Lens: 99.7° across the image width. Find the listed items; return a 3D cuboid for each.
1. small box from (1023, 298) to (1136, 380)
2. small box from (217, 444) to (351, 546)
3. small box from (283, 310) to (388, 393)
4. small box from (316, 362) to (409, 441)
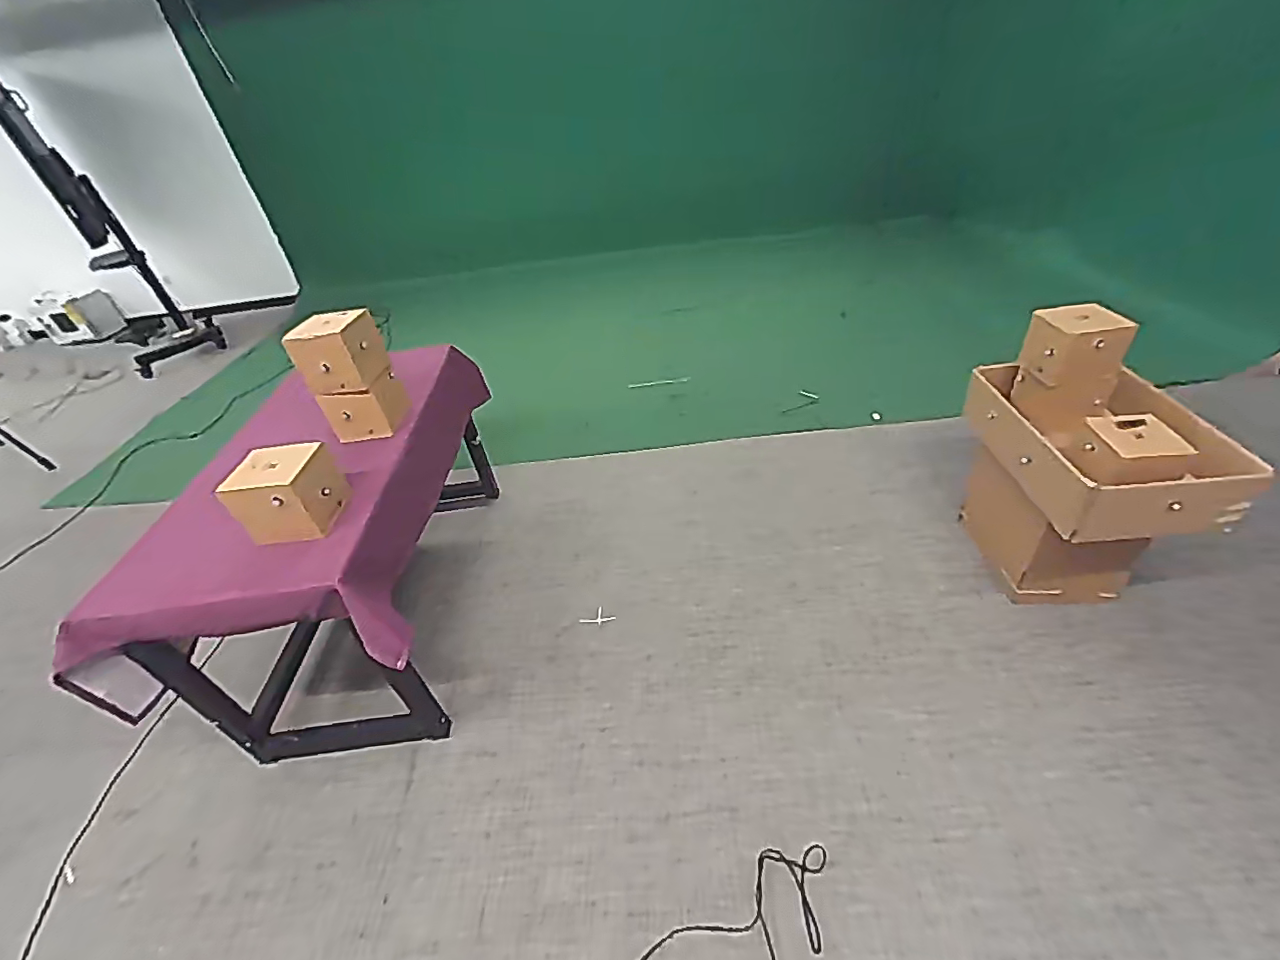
[{"bbox_3d":[1.230,-0.398,1.536,0.179,0.176,0.168,-8,39,2],"label":"small box"},{"bbox_3d":[-0.828,0.038,1.283,0.179,0.176,0.168,-7,38,4],"label":"small box"},{"bbox_3d":[-0.837,-0.352,1.510,0.168,0.176,0.179,-5,39,6],"label":"small box"},{"bbox_3d":[-0.819,-0.229,1.618,0.168,0.176,0.179,-8,38,3],"label":"small box"}]
